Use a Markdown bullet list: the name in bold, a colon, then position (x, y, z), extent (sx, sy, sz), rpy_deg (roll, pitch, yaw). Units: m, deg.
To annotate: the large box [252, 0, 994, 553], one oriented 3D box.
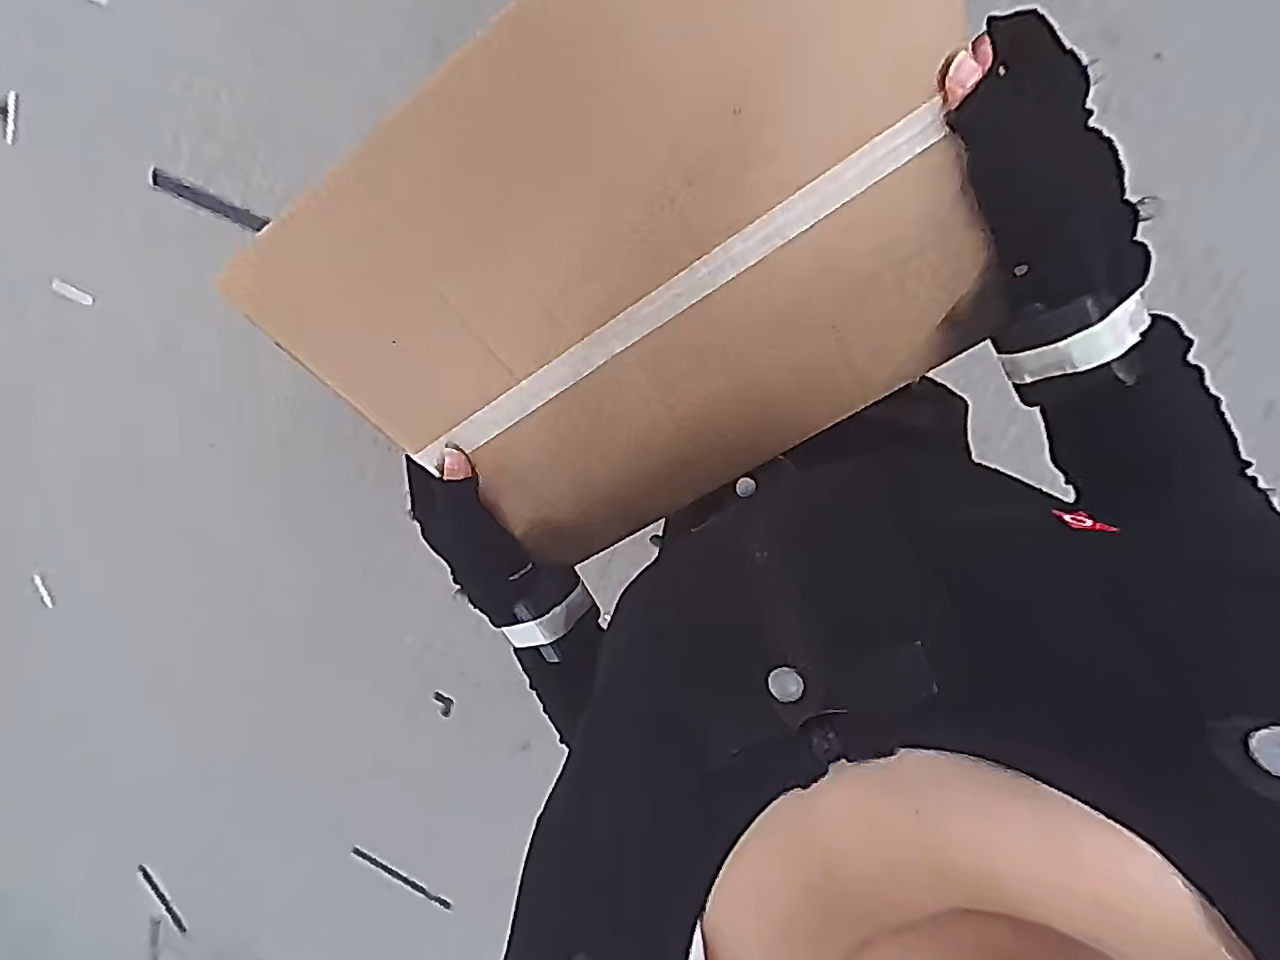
- **large box**: position (-0.004, -0.212, 0.469), extent (0.408, 0.320, 0.320), rpy_deg (-29, 126, 15)
